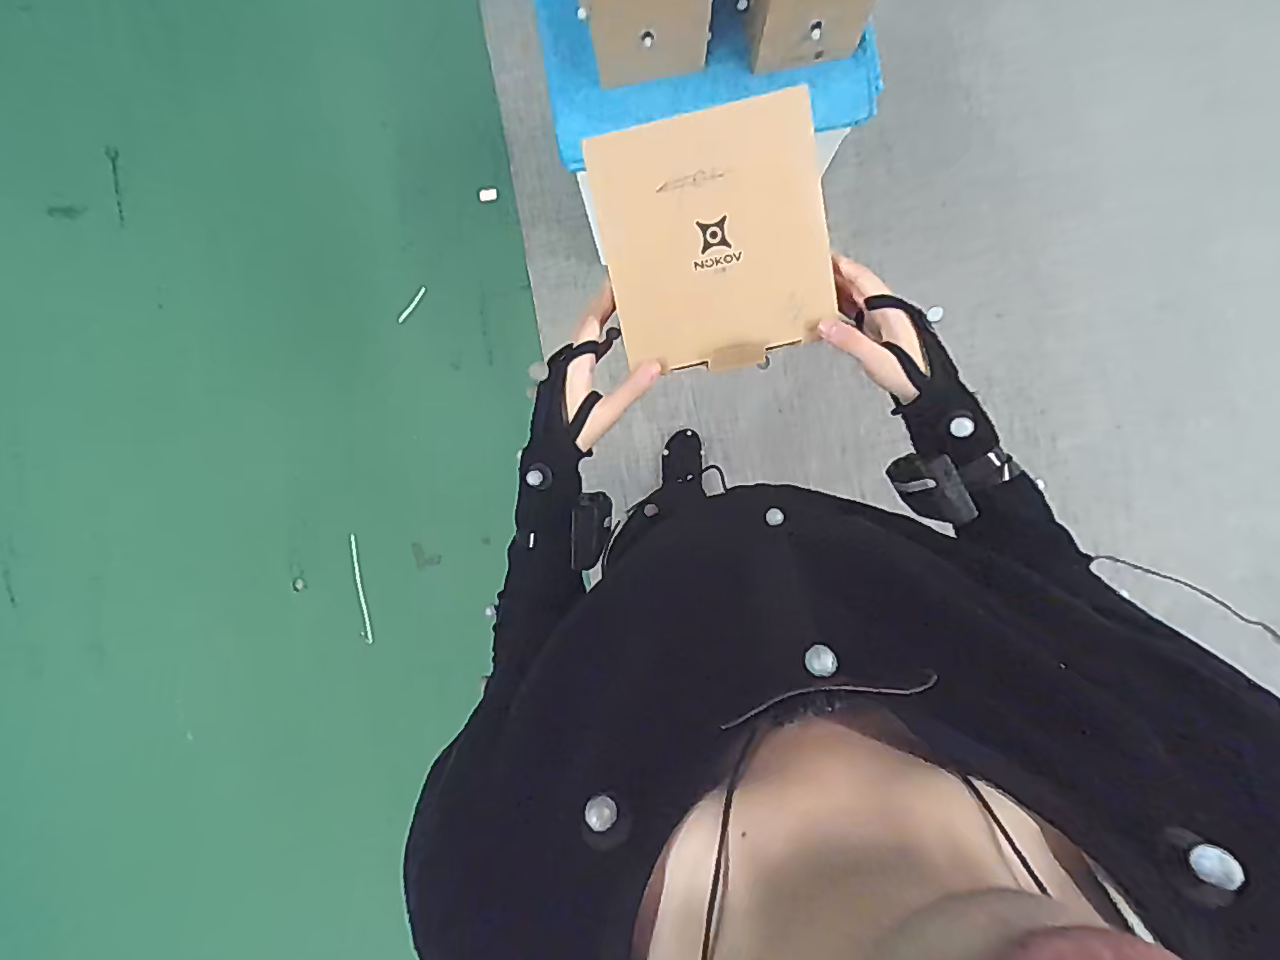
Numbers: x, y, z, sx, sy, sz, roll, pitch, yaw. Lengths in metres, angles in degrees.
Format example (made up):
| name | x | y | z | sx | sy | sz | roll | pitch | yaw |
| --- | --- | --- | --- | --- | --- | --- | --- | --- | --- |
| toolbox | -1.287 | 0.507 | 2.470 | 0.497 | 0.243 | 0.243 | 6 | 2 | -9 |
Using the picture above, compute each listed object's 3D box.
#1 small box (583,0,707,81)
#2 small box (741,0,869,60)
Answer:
| name | x | y | z | sx | sy | sz | roll | pitch | yaw |
| --- | --- | --- | --- | --- | --- | --- | --- | --- | --- |
| small box | 0.001 | -0.739 | 0.800 | 0.179 | 0.176 | 0.168 | -10 | 90 | 2 |
| small box | 0.244 | -0.761 | 0.791 | 0.168 | 0.176 | 0.179 | -9 | 91 | 2 |
